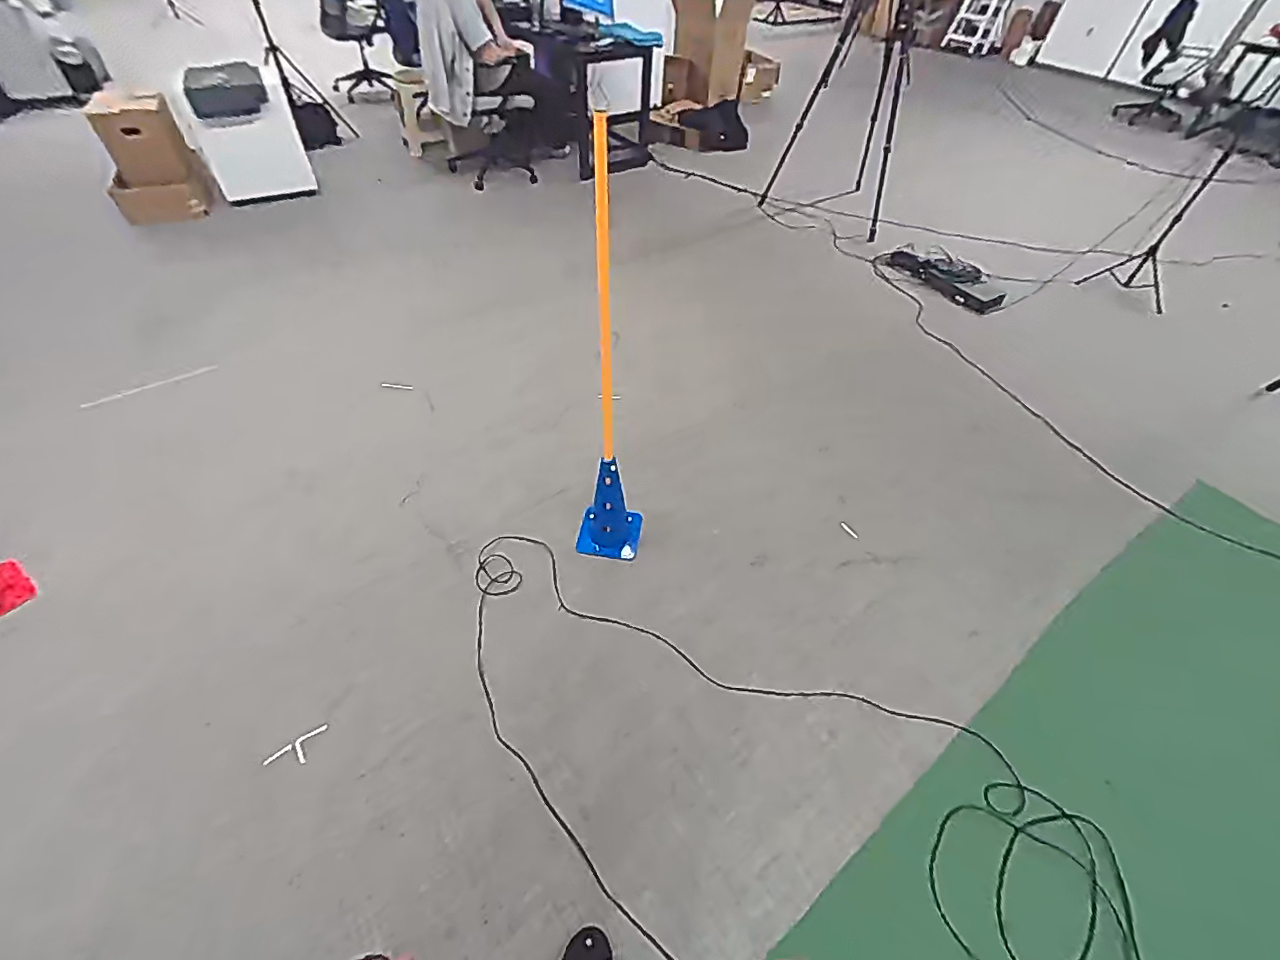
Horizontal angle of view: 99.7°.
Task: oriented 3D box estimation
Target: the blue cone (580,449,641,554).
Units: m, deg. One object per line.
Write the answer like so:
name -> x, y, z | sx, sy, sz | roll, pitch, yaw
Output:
blue cone -> -0.092, 0.050, 1.694 | 0.192, 0.380, 0.193 | 7, 46, 4
